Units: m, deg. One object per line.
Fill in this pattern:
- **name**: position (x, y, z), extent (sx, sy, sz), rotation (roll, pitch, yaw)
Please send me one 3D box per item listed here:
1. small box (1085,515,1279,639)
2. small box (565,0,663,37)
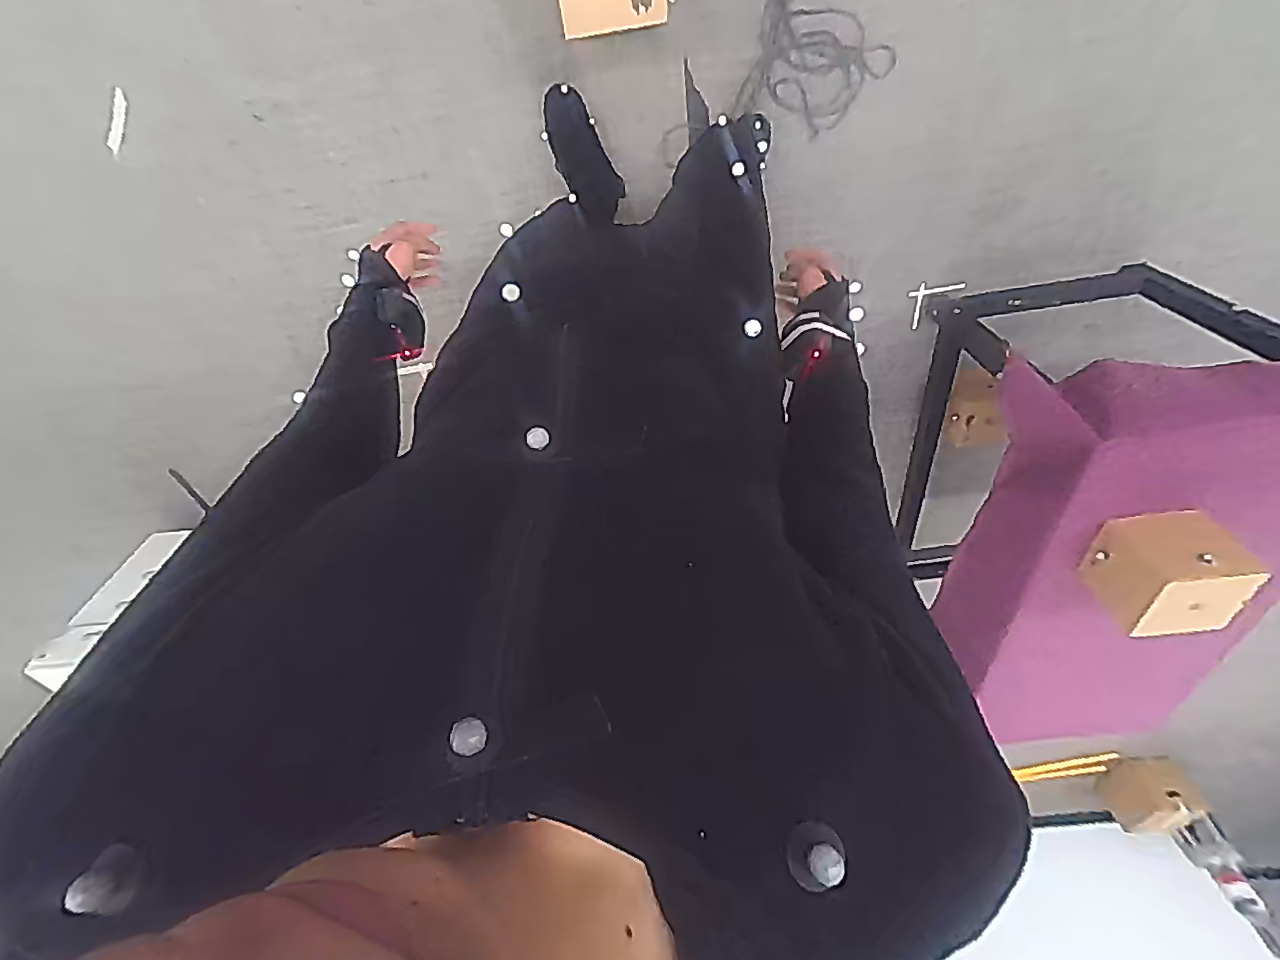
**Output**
- **small box**: position (1.024, 0.182, 1.039), extent (0.179, 0.176, 0.168), rotation (-6, 129, 5)
- **small box**: position (-0.055, -0.953, 1.018), extent (0.179, 0.176, 0.168), rotation (-8, 130, 5)
